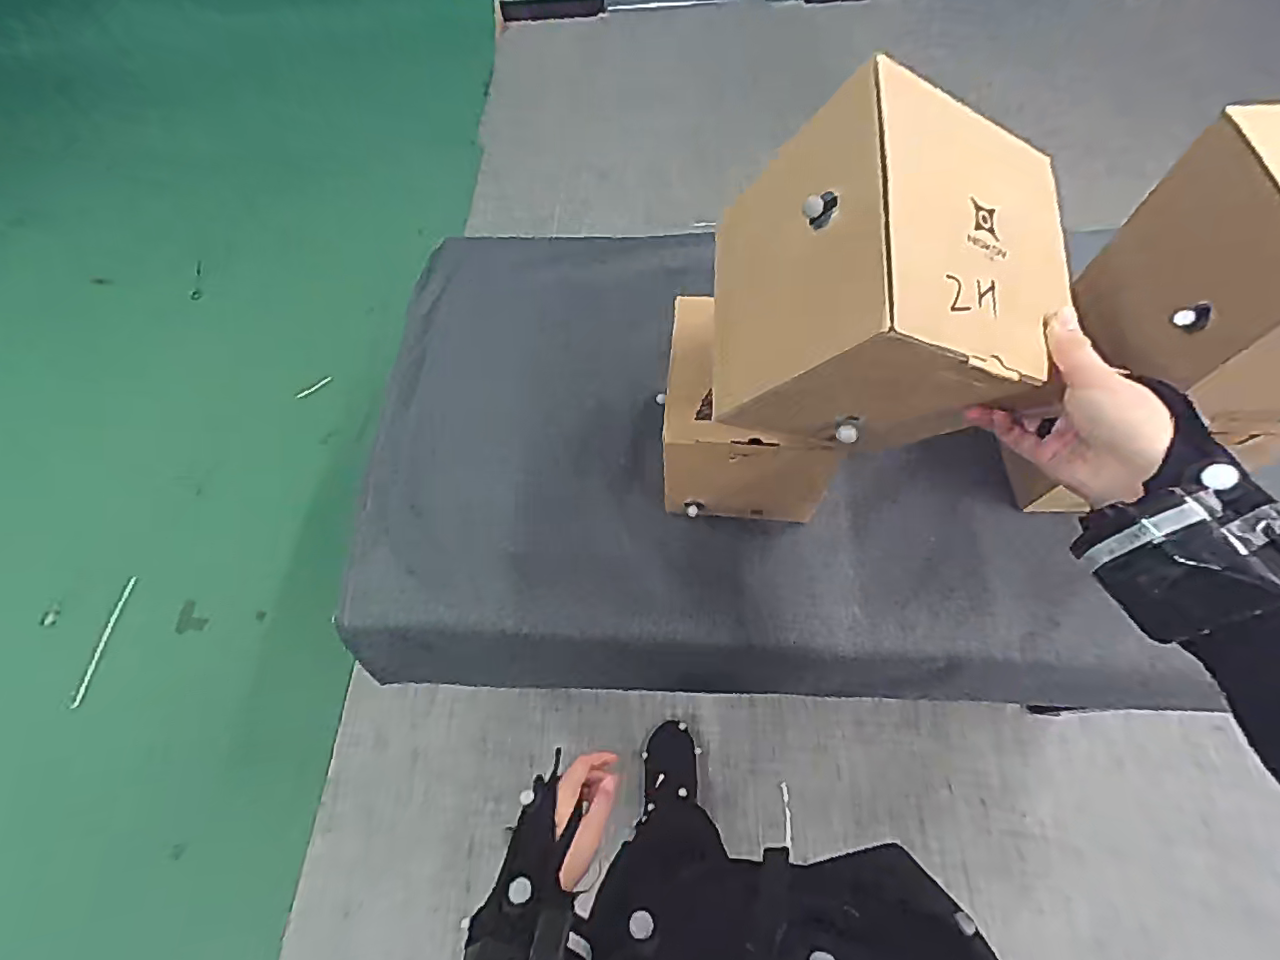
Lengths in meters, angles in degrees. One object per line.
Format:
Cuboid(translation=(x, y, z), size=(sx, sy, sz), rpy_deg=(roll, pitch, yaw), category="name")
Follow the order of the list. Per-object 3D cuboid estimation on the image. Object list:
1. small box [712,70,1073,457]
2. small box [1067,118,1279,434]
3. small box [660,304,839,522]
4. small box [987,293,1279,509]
Cuboid(translation=(0.164, -0.131, 0.398), size=(0.168, 0.176, 0.179), rpy_deg=(8, 73, -22), category="small box")
Cuboid(translation=(0.492, -0.149, 0.424), size=(0.168, 0.176, 0.179), rpy_deg=(2, 63, 4), category="small box")
Cuboid(translation=(0.113, -0.066, 0.591), size=(0.168, 0.176, 0.179), rpy_deg=(4, 62, 5), category="small box")
Cuboid(translation=(0.498, -0.075, 0.569), size=(0.168, 0.176, 0.179), rpy_deg=(-1, 64, 3), category="small box")
